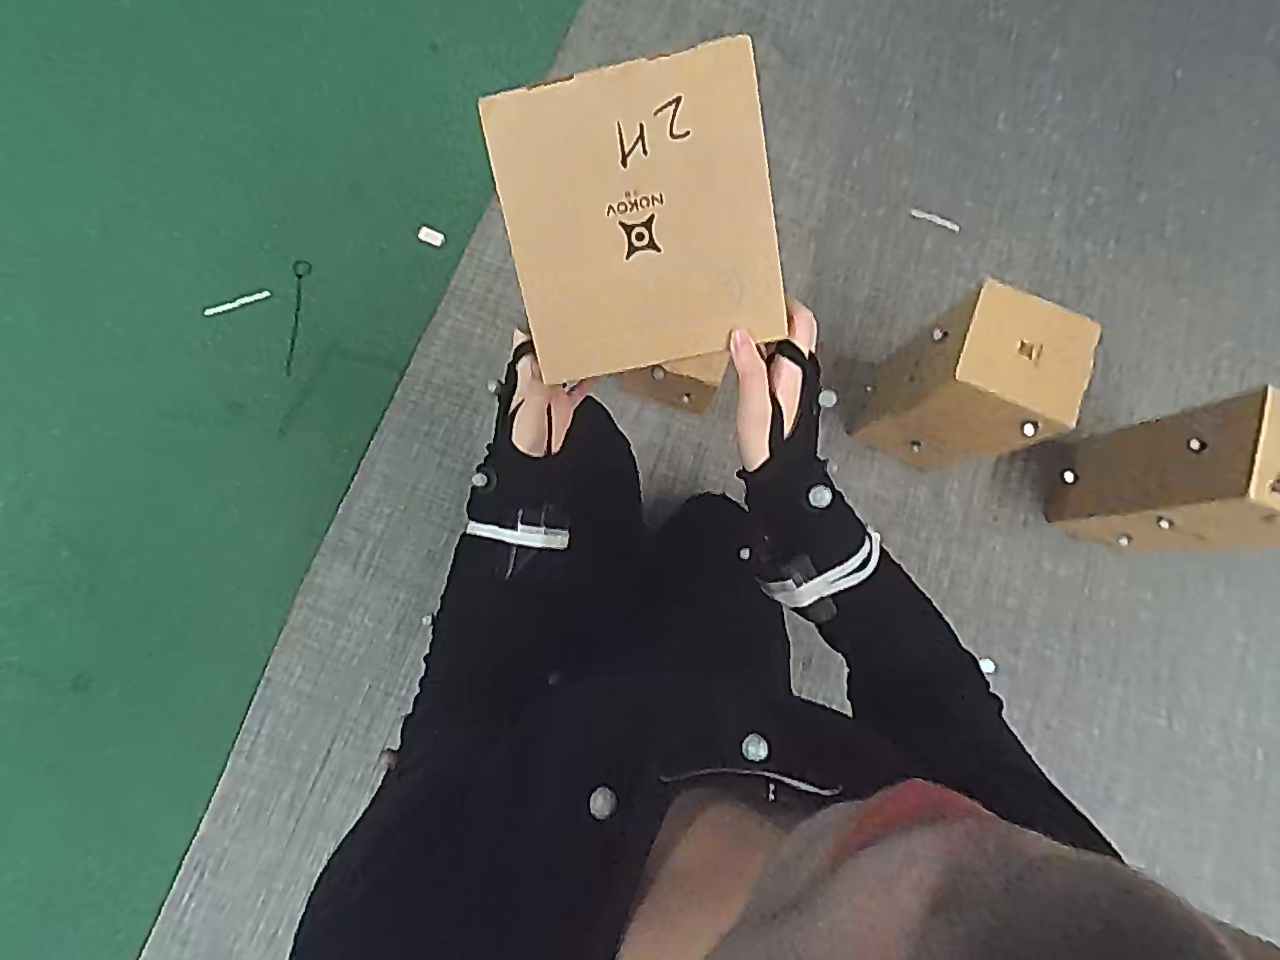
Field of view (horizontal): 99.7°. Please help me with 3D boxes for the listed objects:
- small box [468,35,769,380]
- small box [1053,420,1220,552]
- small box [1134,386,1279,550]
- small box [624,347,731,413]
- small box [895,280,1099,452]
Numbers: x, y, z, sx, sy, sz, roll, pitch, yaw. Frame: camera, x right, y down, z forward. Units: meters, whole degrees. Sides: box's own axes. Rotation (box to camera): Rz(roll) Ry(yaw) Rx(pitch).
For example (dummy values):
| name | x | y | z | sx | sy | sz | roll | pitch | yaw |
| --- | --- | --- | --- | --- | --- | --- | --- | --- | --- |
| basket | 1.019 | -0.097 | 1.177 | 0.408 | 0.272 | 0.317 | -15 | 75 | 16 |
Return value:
| name | x | y | z | sx | sy | sz | roll | pitch | yaw |
| --- | --- | --- | --- | --- | --- | --- | --- | --- | --- |
| small box | -0.006 | -0.181 | 0.415 | 0.168 | 0.176 | 0.179 | -10 | 102 | 4 |
| small box | 0.889 | 0.021 | 0.965 | 0.168 | 0.176 | 0.179 | 22 | 79 | 1 |
| small box | 0.896 | -0.006 | 0.803 | 0.168 | 0.176 | 0.179 | 23 | 78 | 1 |
| small box | 0.072 | -0.239 | 0.968 | 0.168 | 0.176 | 0.179 | 18 | 78 | -1 |
| small box | 0.520 | -0.159 | 0.811 | 0.179 | 0.176 | 0.168 | 23 | 78 | 1 |
